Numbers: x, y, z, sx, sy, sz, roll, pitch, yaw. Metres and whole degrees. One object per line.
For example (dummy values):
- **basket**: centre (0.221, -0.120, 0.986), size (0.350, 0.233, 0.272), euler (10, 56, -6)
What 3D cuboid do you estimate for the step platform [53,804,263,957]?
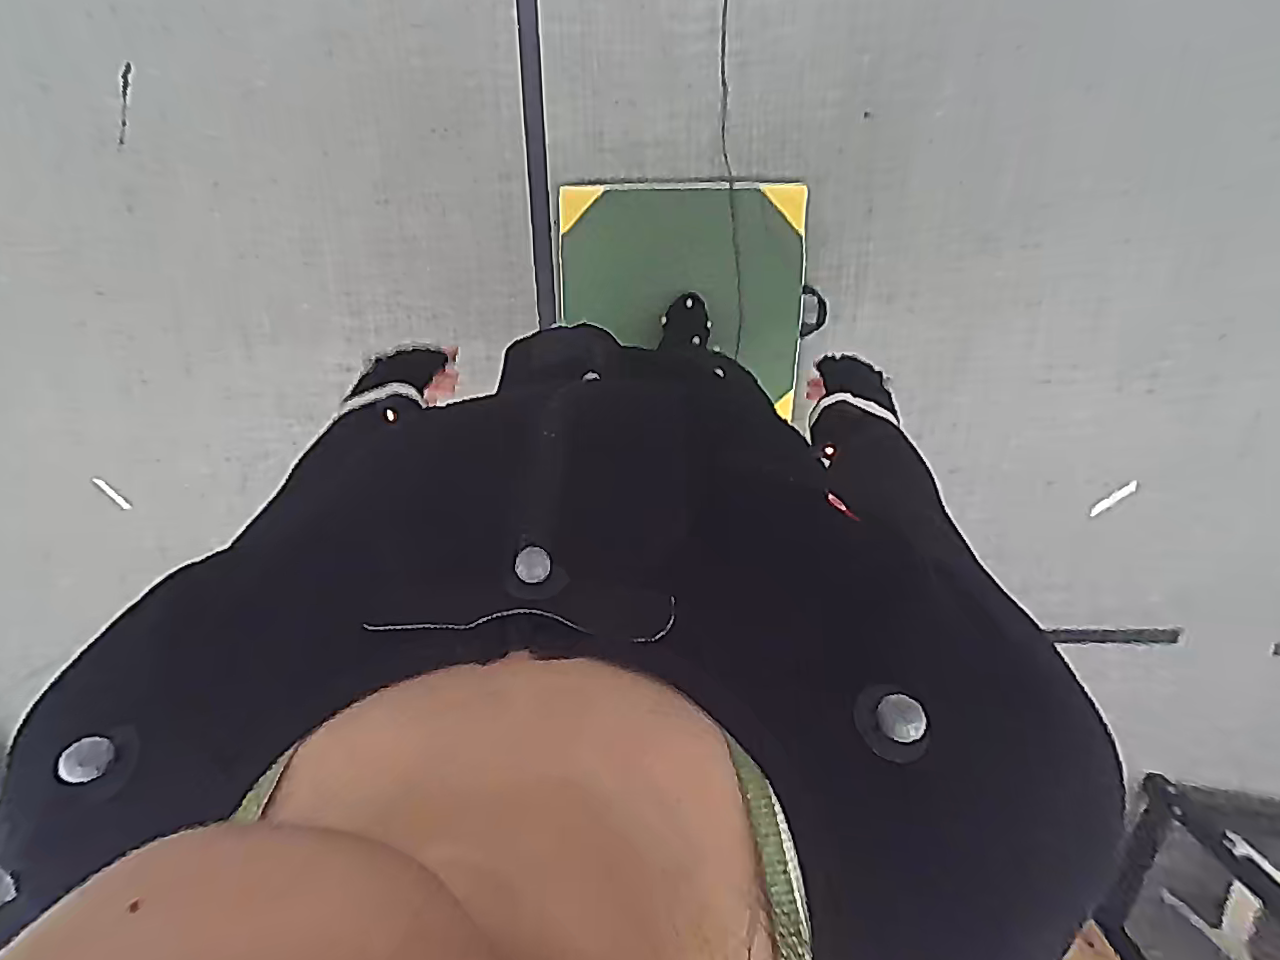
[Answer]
- **step platform**: centre (-1.756, 1.461, 1.971), size (0.684, 0.204, 0.286), euler (-29, 101, 10)
